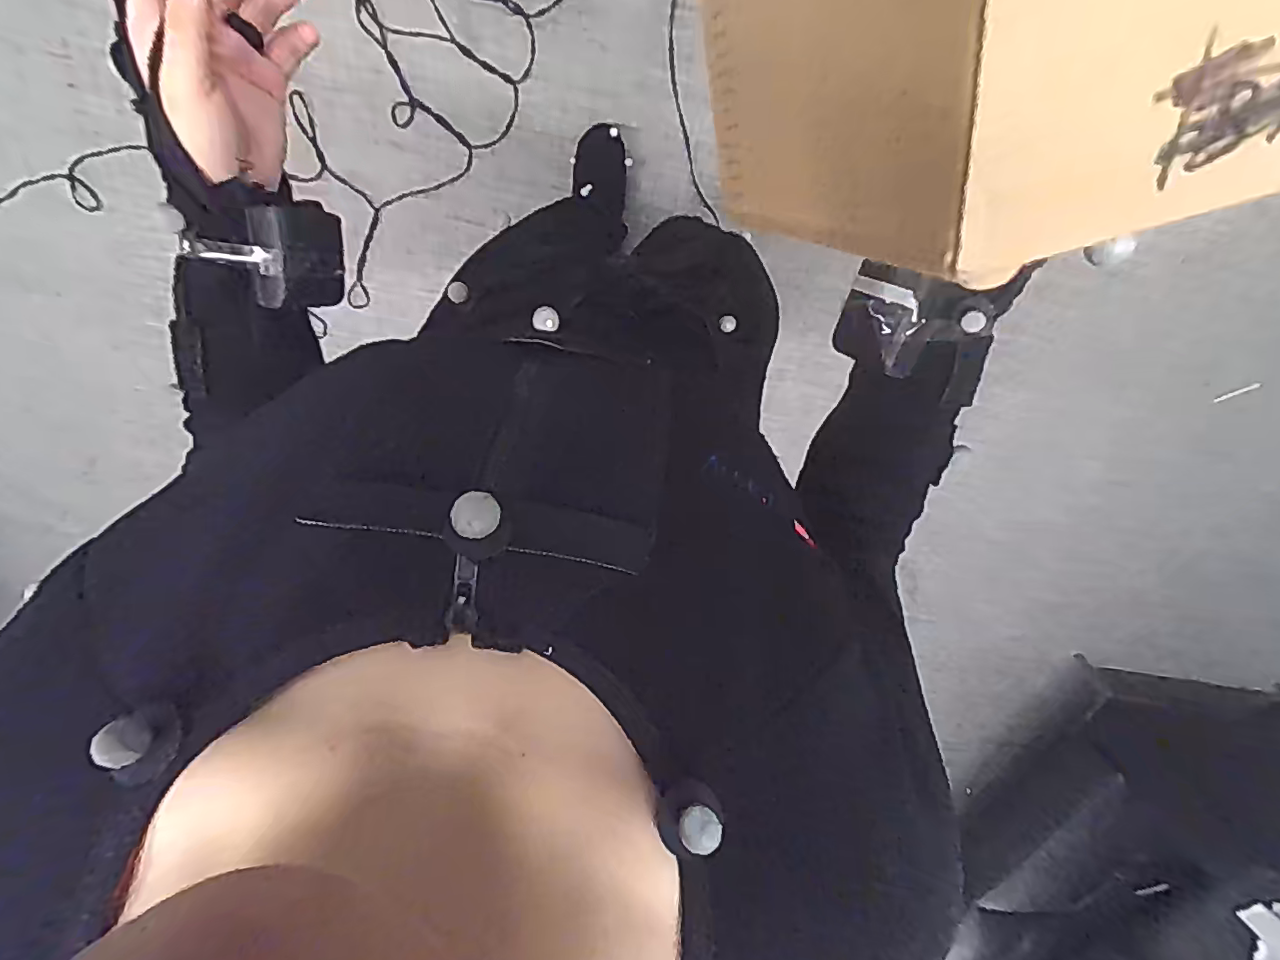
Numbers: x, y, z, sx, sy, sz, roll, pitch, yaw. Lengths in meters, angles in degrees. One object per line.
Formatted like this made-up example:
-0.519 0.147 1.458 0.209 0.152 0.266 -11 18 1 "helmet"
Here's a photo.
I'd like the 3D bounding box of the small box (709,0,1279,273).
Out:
0.119 -0.182 0.165 0.168 0.176 0.179 -17 121 -2 "small box"
